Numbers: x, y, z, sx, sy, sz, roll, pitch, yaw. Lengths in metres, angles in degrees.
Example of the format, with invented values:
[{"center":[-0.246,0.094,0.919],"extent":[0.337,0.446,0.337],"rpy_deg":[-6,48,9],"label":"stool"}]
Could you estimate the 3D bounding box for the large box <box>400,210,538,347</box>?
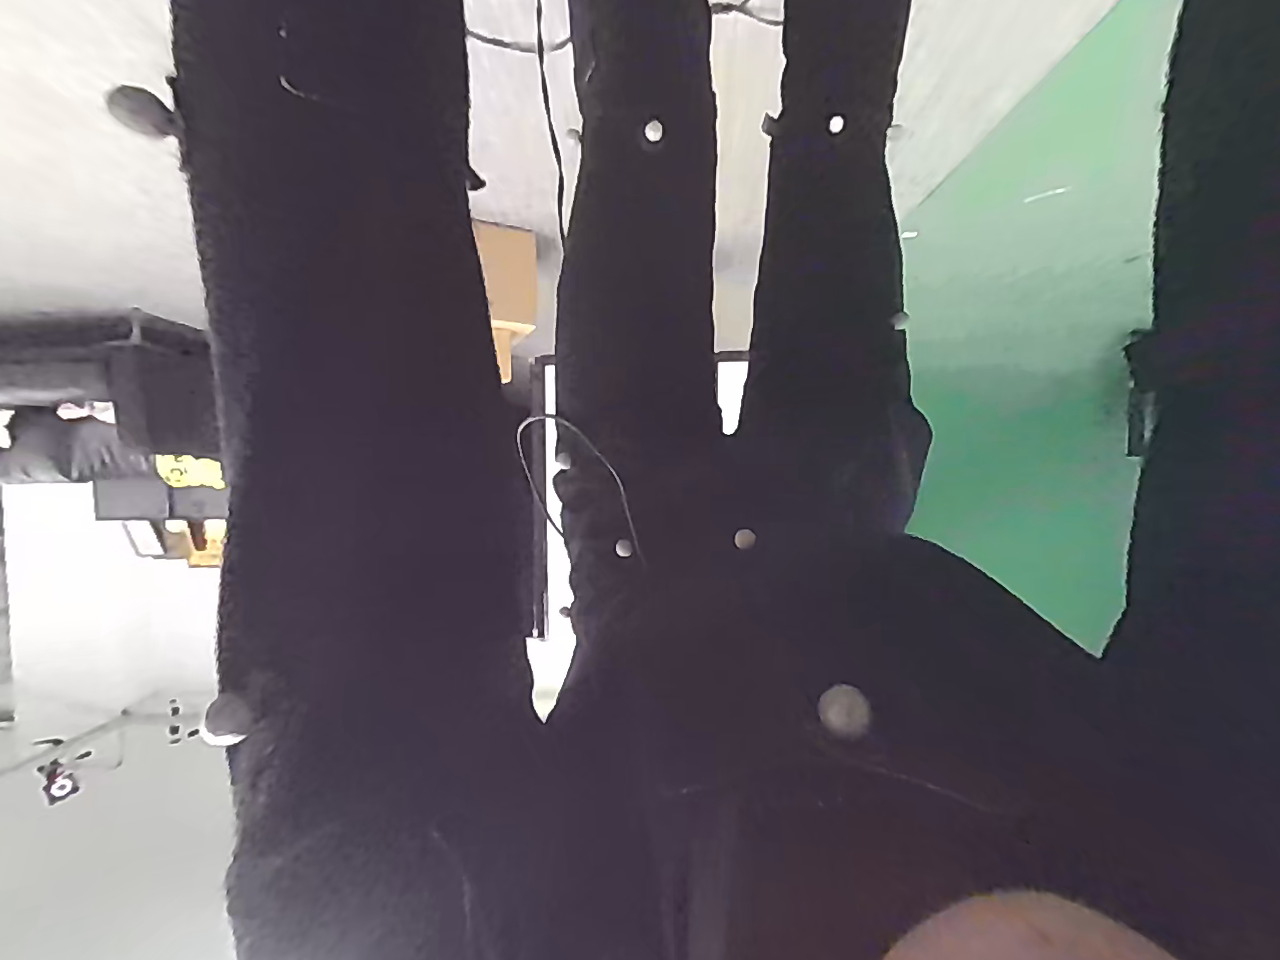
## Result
[{"center":[-0.575,-0.649,1.808],"extent":[0.408,0.320,0.320],"rpy_deg":[1,180,-27],"label":"large box"}]
